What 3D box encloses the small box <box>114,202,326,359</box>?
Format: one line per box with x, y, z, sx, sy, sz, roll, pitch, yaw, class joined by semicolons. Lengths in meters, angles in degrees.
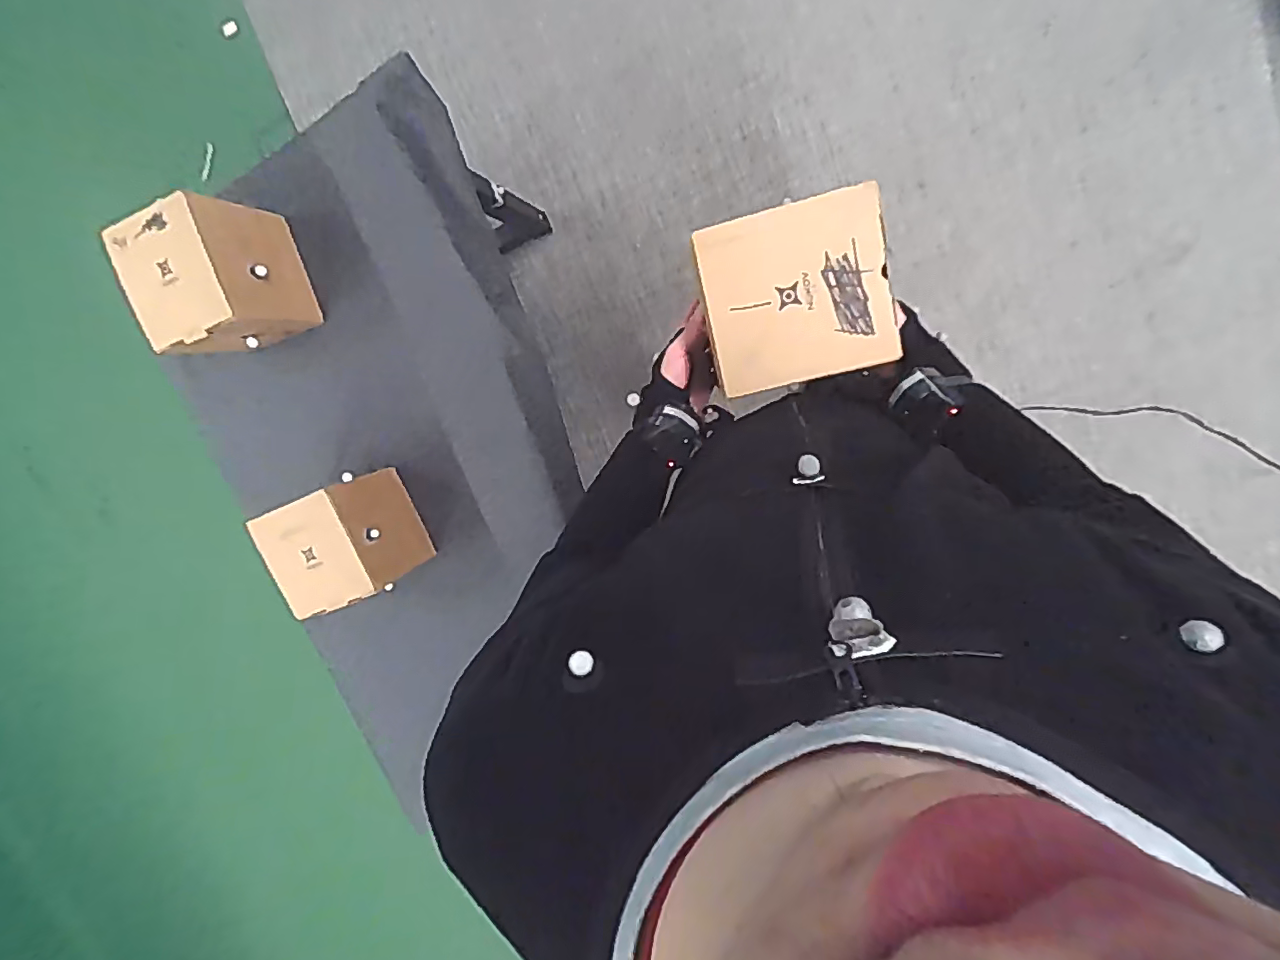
-0.636;-0.299;0.842;0.168;0.176;0.179;-14;101;15;small box

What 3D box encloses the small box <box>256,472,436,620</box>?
-0.480;0.104;0.909;0.168;0.176;0.179;-21;97;16;small box
